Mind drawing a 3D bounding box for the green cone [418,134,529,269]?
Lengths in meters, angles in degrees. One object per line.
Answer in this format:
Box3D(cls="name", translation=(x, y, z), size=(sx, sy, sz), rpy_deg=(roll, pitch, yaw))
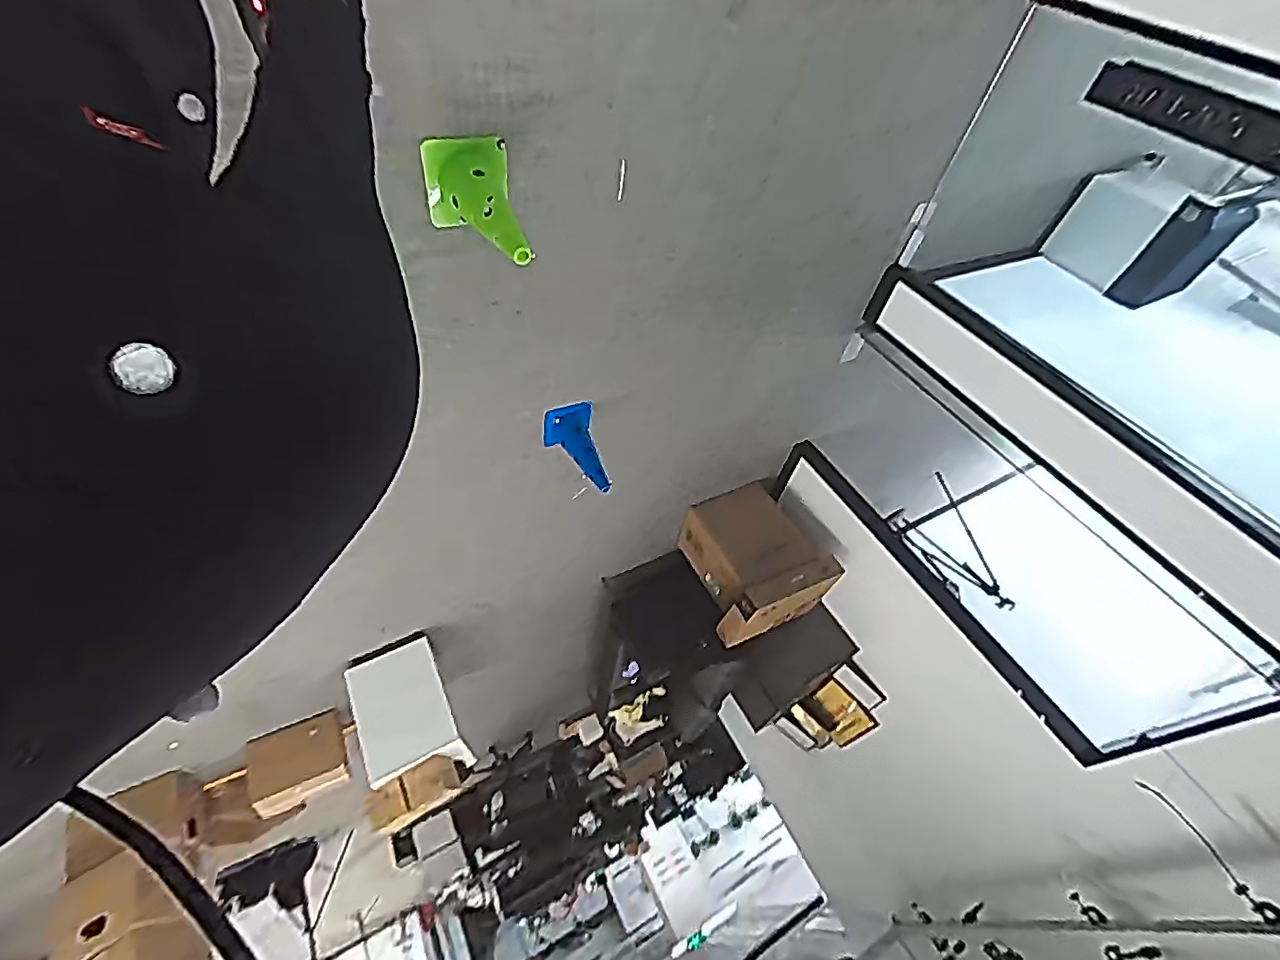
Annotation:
Box3D(cls="green cone", translation=(-0.342, -0.598, 1.223), size=(0.200, 0.368, 0.202), rpy_deg=(-20, 148, -23))
